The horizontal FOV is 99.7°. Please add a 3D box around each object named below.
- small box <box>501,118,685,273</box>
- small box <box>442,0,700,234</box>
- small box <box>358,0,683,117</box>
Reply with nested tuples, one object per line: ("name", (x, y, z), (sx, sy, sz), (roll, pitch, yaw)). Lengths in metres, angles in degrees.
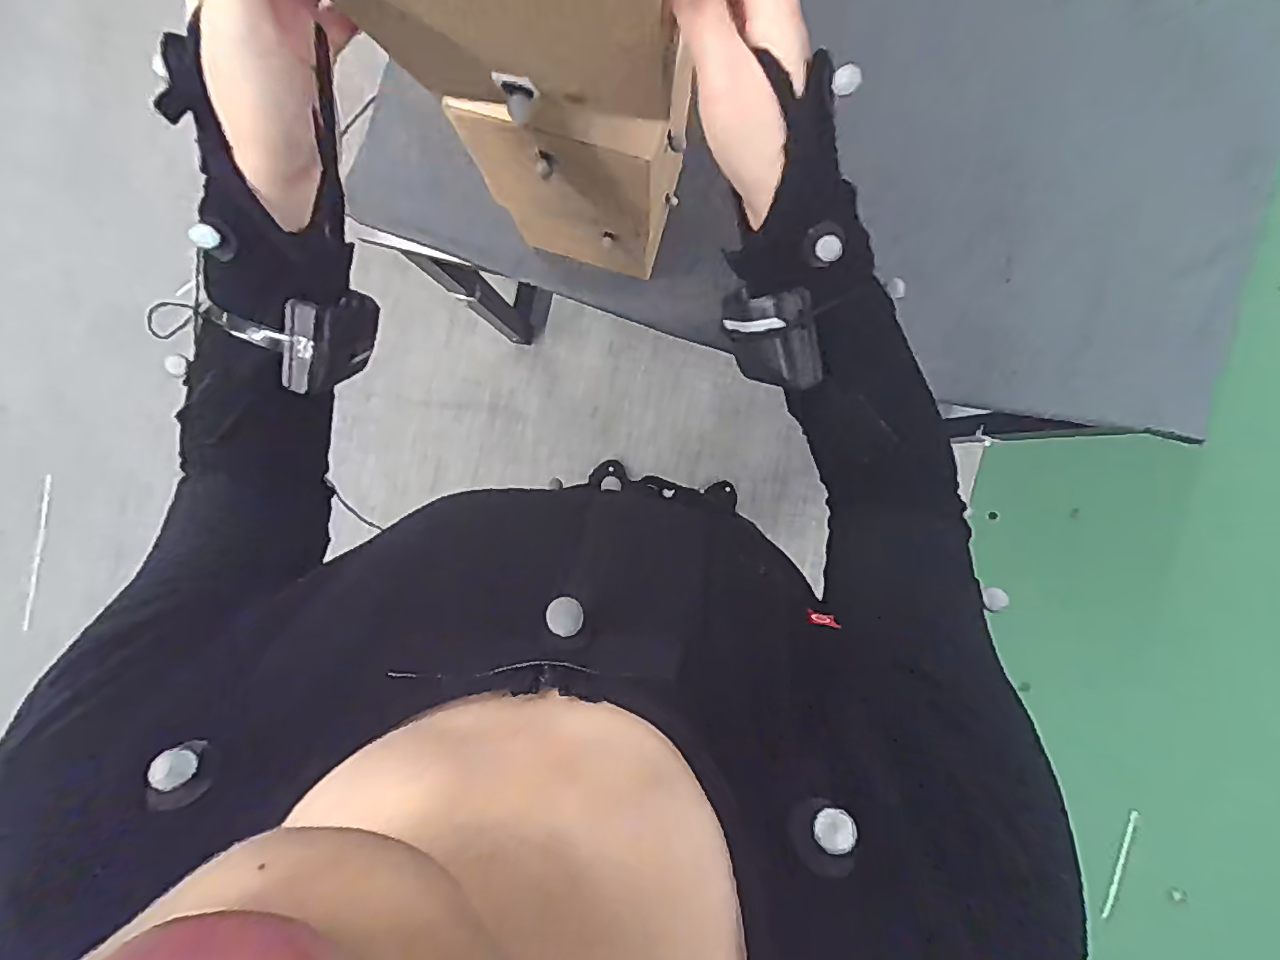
("small box", (-0.050, -0.375, 0.665), (0.179, 0.176, 0.168), (16, 92, 1))
("small box", (-0.051, -0.354, 0.503), (0.179, 0.176, 0.168), (15, 93, 1))
("small box", (-0.058, -0.310, 0.261), (0.168, 0.176, 0.179), (8, 109, 3))
